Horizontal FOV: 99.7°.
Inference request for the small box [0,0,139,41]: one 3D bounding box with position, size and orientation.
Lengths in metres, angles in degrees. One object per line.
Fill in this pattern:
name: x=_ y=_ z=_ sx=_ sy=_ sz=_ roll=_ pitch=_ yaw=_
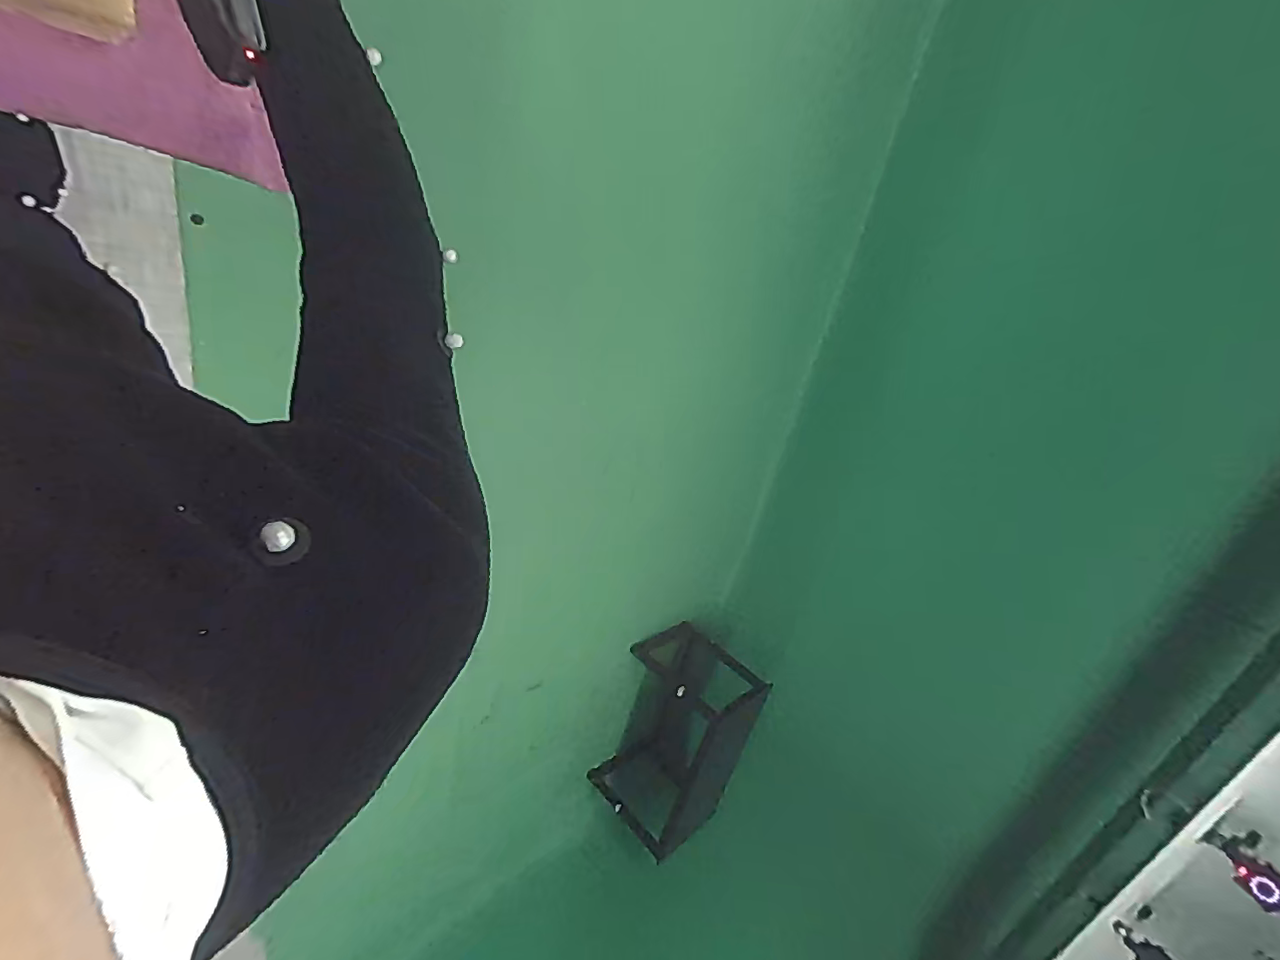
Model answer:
small box: x=-0.504 y=-0.472 z=0.405 sx=0.168 sy=0.176 sz=0.179 roll=-9 pitch=120 yaw=-45
